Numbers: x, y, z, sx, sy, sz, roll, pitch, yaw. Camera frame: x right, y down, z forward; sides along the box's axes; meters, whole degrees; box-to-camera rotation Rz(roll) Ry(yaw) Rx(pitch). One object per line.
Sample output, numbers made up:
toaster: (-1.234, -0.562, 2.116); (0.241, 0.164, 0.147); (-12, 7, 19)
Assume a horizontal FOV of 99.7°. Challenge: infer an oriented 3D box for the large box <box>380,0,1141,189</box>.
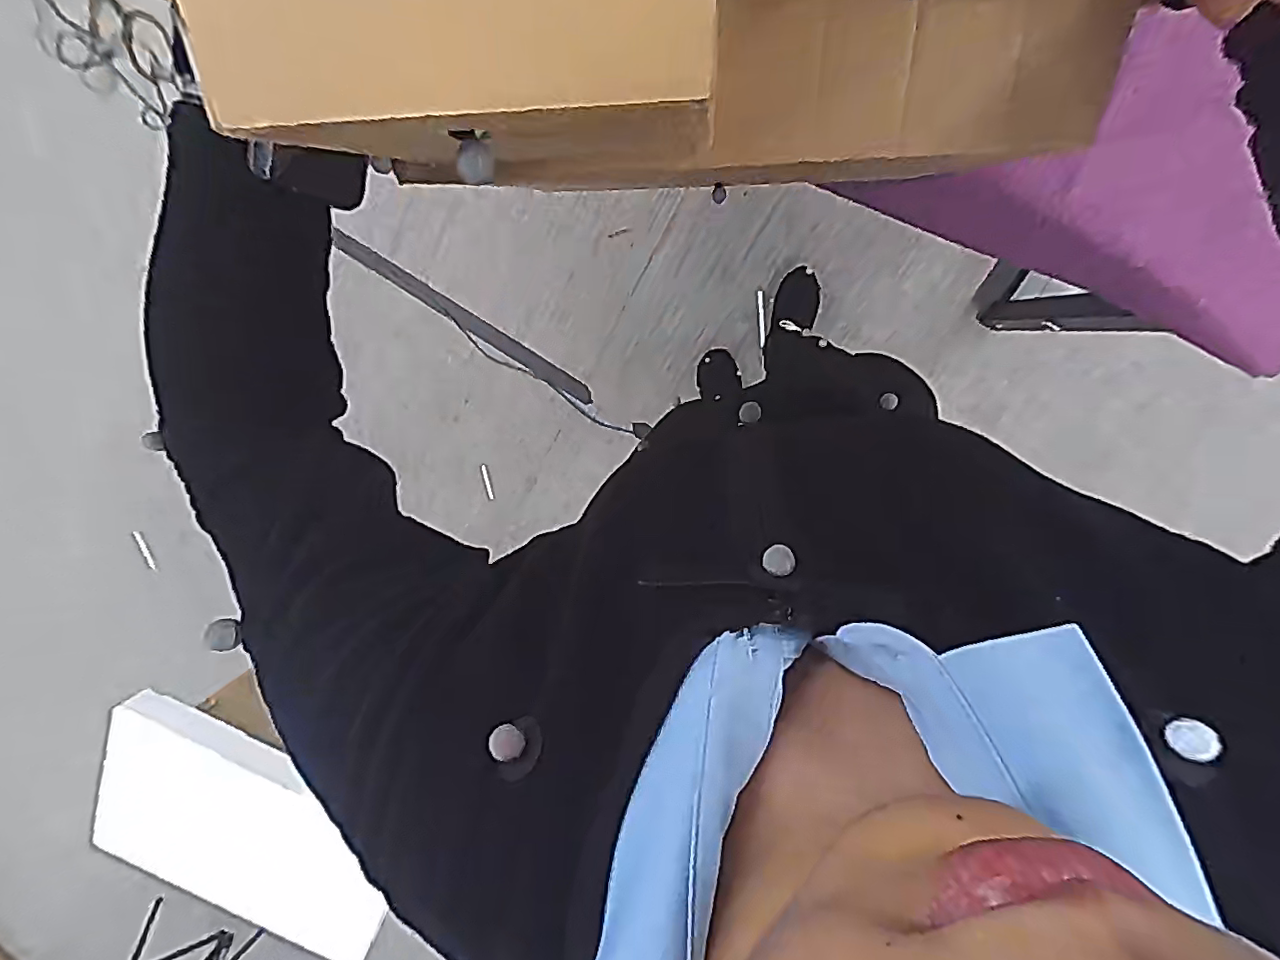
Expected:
large box: (0.068, -0.394, 0.381); (0.408, 0.320, 0.320); (2, 115, 9)
